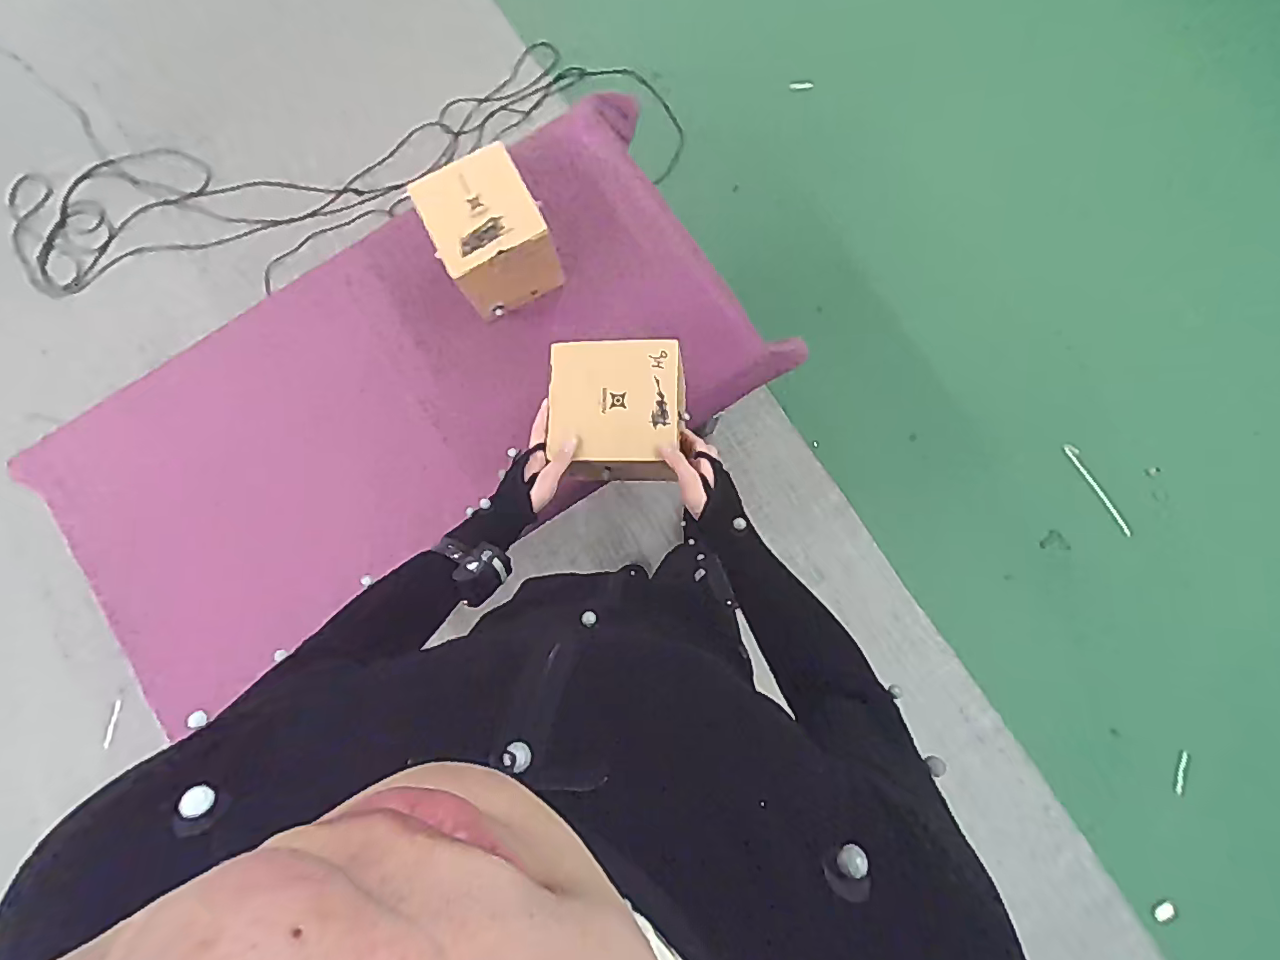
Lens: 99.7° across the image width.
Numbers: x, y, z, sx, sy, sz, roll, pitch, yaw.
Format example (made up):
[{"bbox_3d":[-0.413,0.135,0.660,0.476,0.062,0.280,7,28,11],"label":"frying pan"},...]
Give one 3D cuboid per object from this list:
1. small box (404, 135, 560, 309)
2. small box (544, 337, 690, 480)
[{"bbox_3d":[-0.249,-0.410,0.897,0.168,0.176,0.179,-28,83,-2],"label":"small box"},{"bbox_3d":[-0.023,-0.094,0.779,0.179,0.176,0.168,2,81,8],"label":"small box"}]
